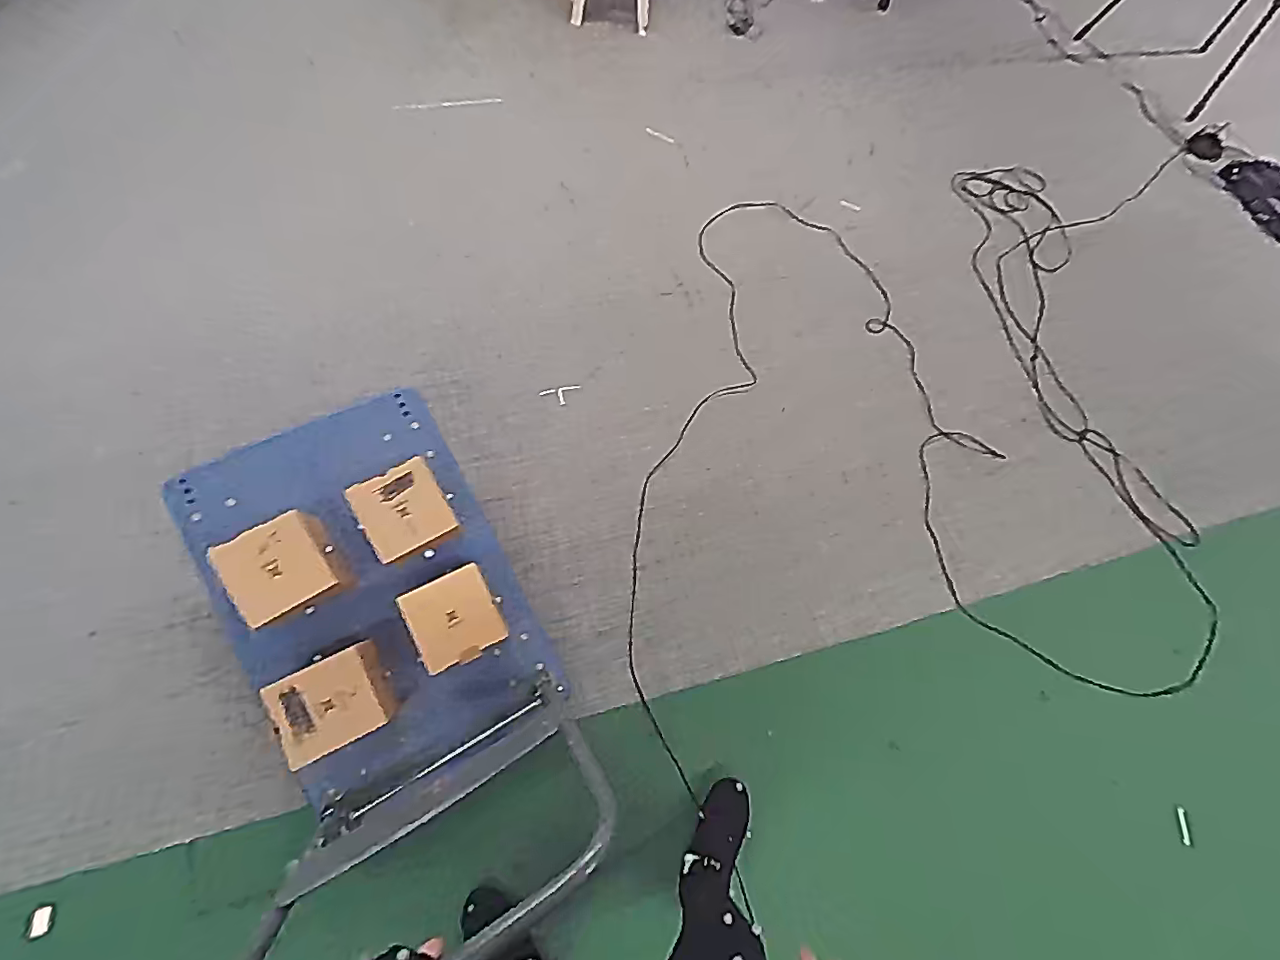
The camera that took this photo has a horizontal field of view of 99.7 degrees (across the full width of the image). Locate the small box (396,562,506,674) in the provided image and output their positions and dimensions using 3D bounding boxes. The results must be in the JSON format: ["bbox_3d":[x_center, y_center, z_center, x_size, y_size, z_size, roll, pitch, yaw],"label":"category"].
[{"bbox_3d":[-0.406,0.295,1.182,0.168,0.176,0.179,-26,87,-17],"label":"small box"}]

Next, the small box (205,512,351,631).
[{"bbox_3d":[-0.733,0.186,1.118,0.168,0.176,0.179,-31,88,-18],"label":"small box"}]

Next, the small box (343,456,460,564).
[{"bbox_3d":[-0.517,0.073,1.195,0.168,0.176,0.179,-29,88,-17],"label":"small box"}]
